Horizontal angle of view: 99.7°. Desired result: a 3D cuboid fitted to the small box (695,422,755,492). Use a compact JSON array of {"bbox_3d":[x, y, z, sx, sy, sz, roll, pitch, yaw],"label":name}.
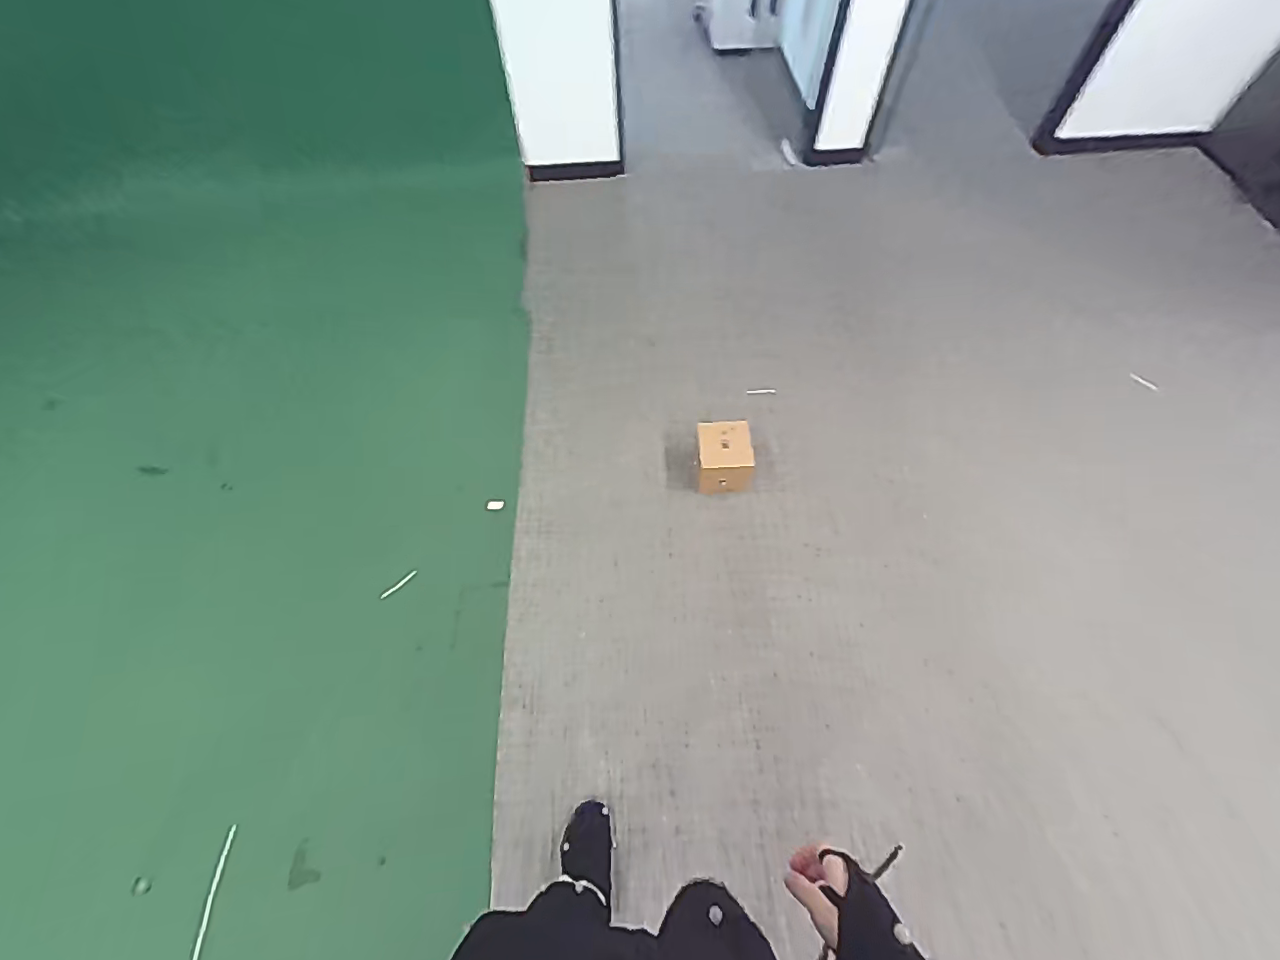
[{"bbox_3d":[0.273,-0.069,1.769,0.168,0.176,0.179,-2,59,0],"label":"small box"}]
